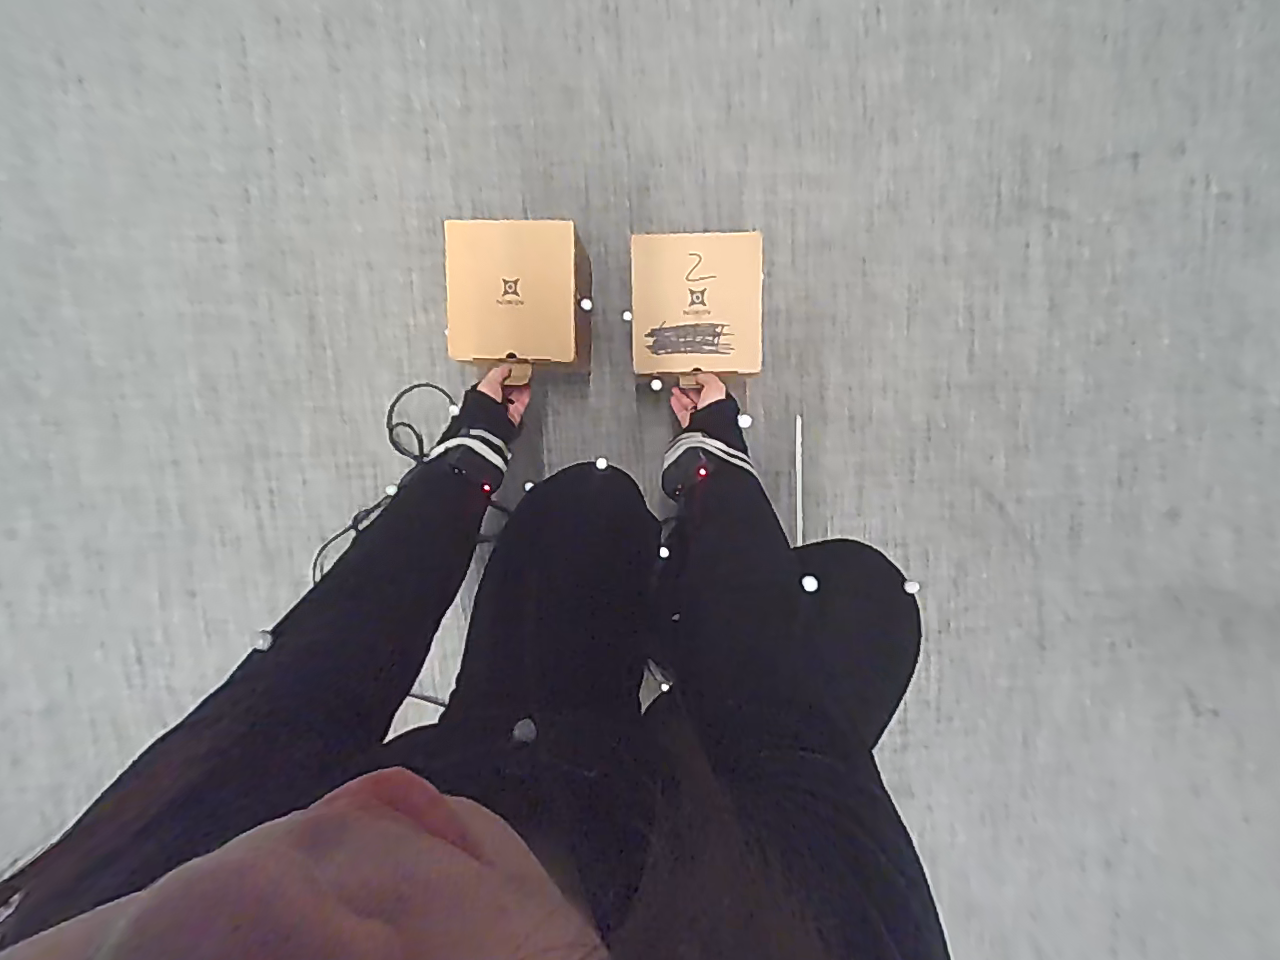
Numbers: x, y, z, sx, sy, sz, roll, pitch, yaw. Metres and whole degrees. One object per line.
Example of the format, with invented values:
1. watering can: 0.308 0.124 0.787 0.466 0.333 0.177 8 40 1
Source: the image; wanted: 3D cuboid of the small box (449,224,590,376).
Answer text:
1. small box: -0.163 -0.246 0.774 0.168 0.176 0.179 1 97 1
